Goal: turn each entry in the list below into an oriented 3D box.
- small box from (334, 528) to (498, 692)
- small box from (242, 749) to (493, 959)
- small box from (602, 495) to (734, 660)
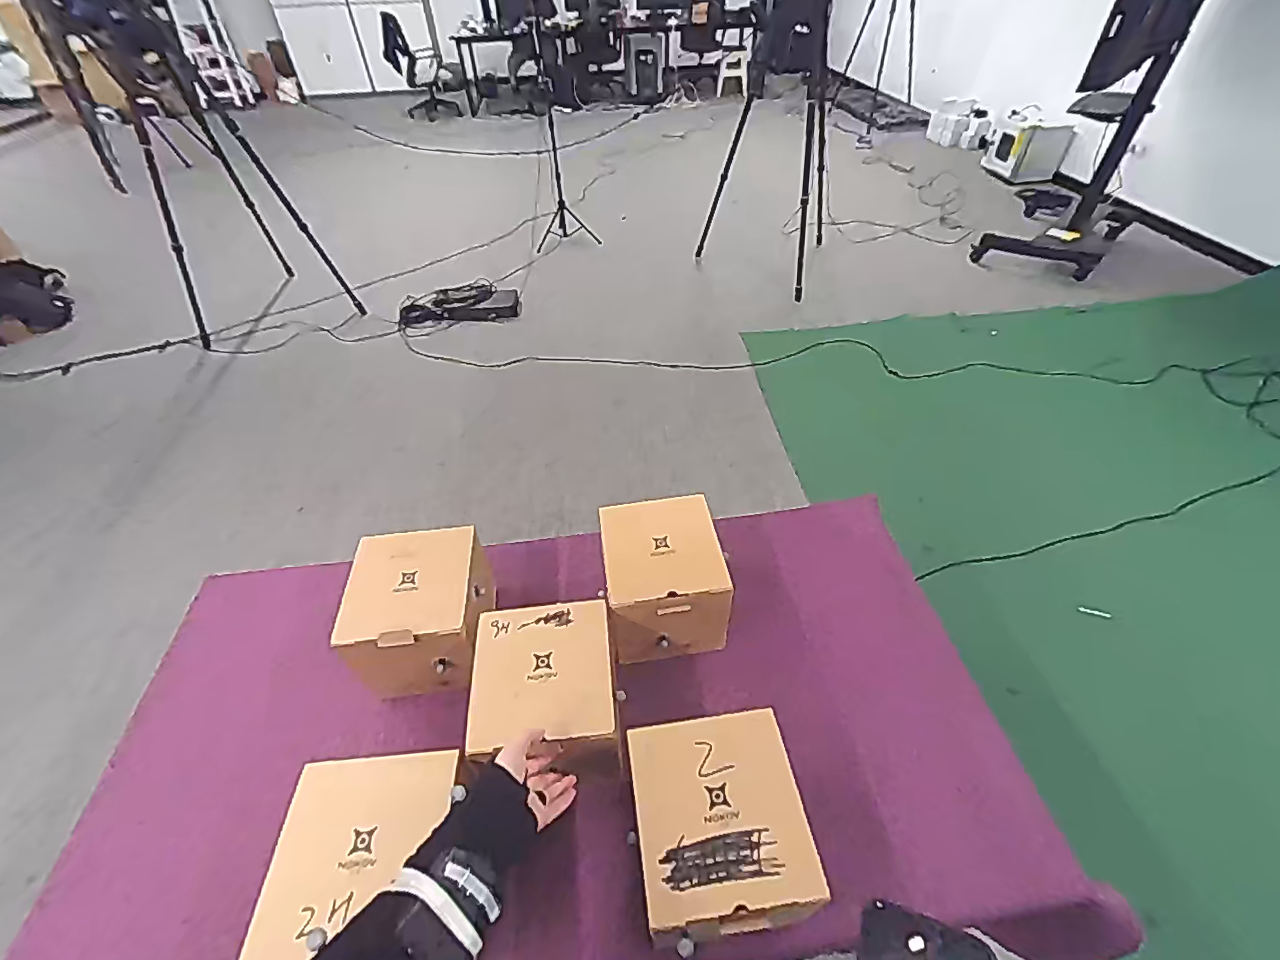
[{"bbox_3d":[-0.311,0.196,0.796,0.168,0.176,0.179,-5,45,-4],"label":"small box"},{"bbox_3d":[-0.263,0.413,0.577,0.168,0.176,0.179,-5,45,-1],"label":"small box"},{"bbox_3d":[0.035,0.148,0.825,0.168,0.176,0.179,-8,47,-5],"label":"small box"}]
